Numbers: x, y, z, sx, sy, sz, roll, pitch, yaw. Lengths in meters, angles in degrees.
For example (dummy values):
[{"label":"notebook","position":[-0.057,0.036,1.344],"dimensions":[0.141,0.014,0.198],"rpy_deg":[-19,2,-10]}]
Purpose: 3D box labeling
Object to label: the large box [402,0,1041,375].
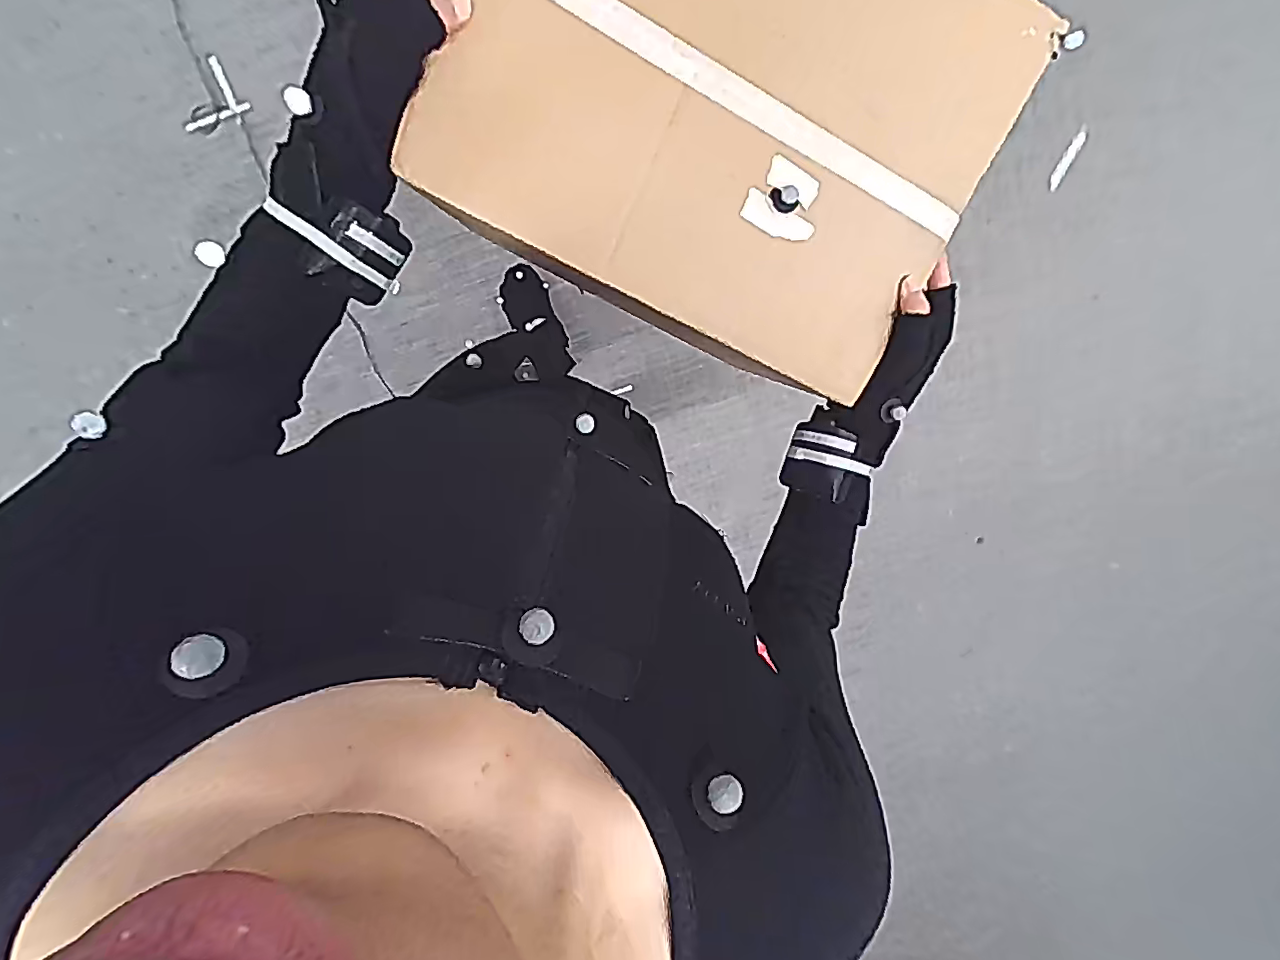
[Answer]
[{"label":"large box","position":[0.047,-0.336,0.540],"dimensions":[0.408,0.320,0.320],"rpy_deg":[22,104,-12]}]
